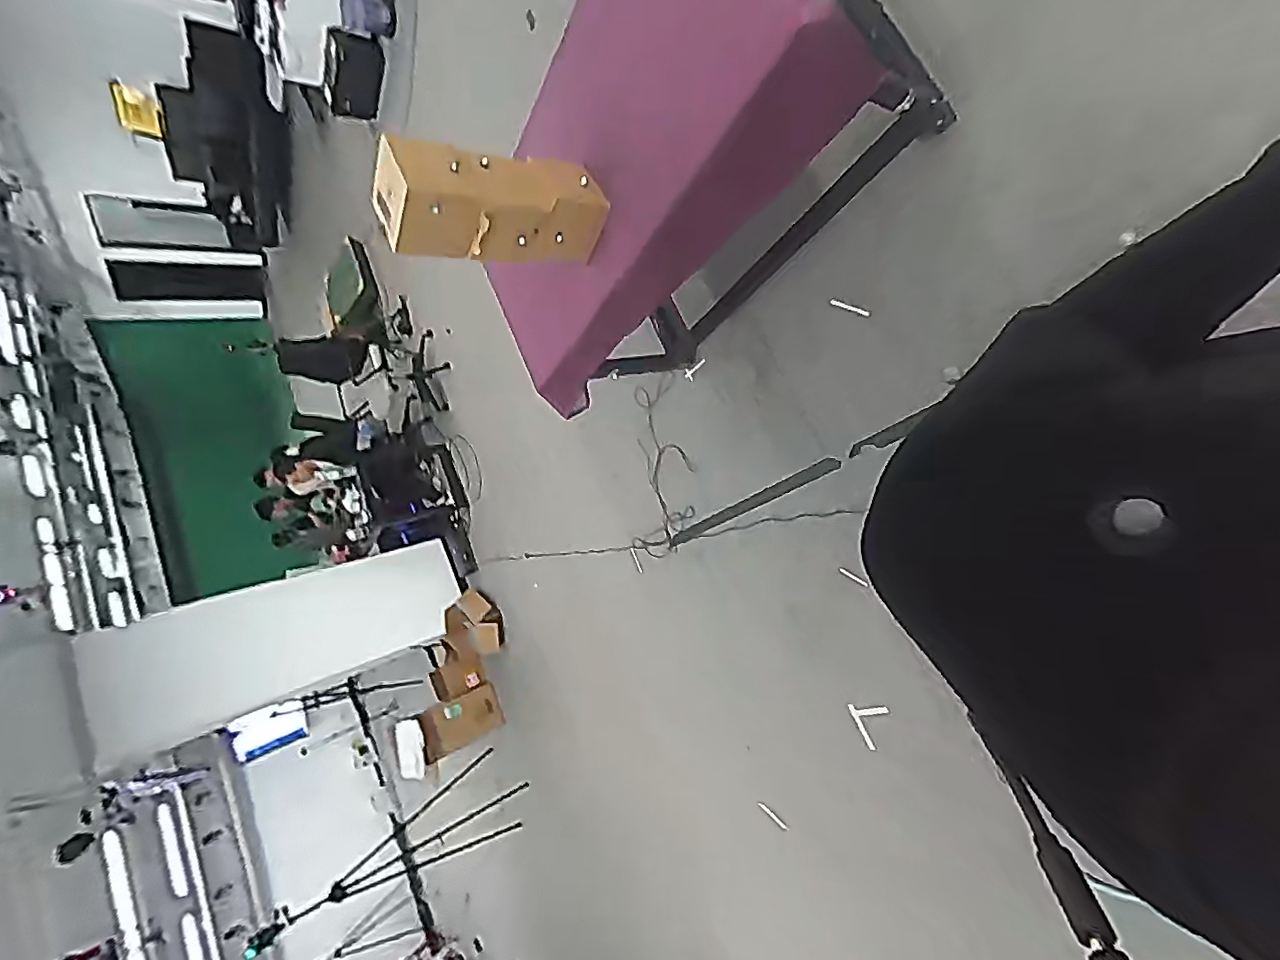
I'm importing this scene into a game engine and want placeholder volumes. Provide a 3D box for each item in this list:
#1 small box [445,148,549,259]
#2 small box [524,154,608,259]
[{"bbox_3d":[-0.345,-0.655,1.305,0.168,0.176,0.179,-45,67,49],"label":"small box"},{"bbox_3d":[-0.207,-0.691,1.389,0.168,0.176,0.179,59,138,19],"label":"small box"}]
